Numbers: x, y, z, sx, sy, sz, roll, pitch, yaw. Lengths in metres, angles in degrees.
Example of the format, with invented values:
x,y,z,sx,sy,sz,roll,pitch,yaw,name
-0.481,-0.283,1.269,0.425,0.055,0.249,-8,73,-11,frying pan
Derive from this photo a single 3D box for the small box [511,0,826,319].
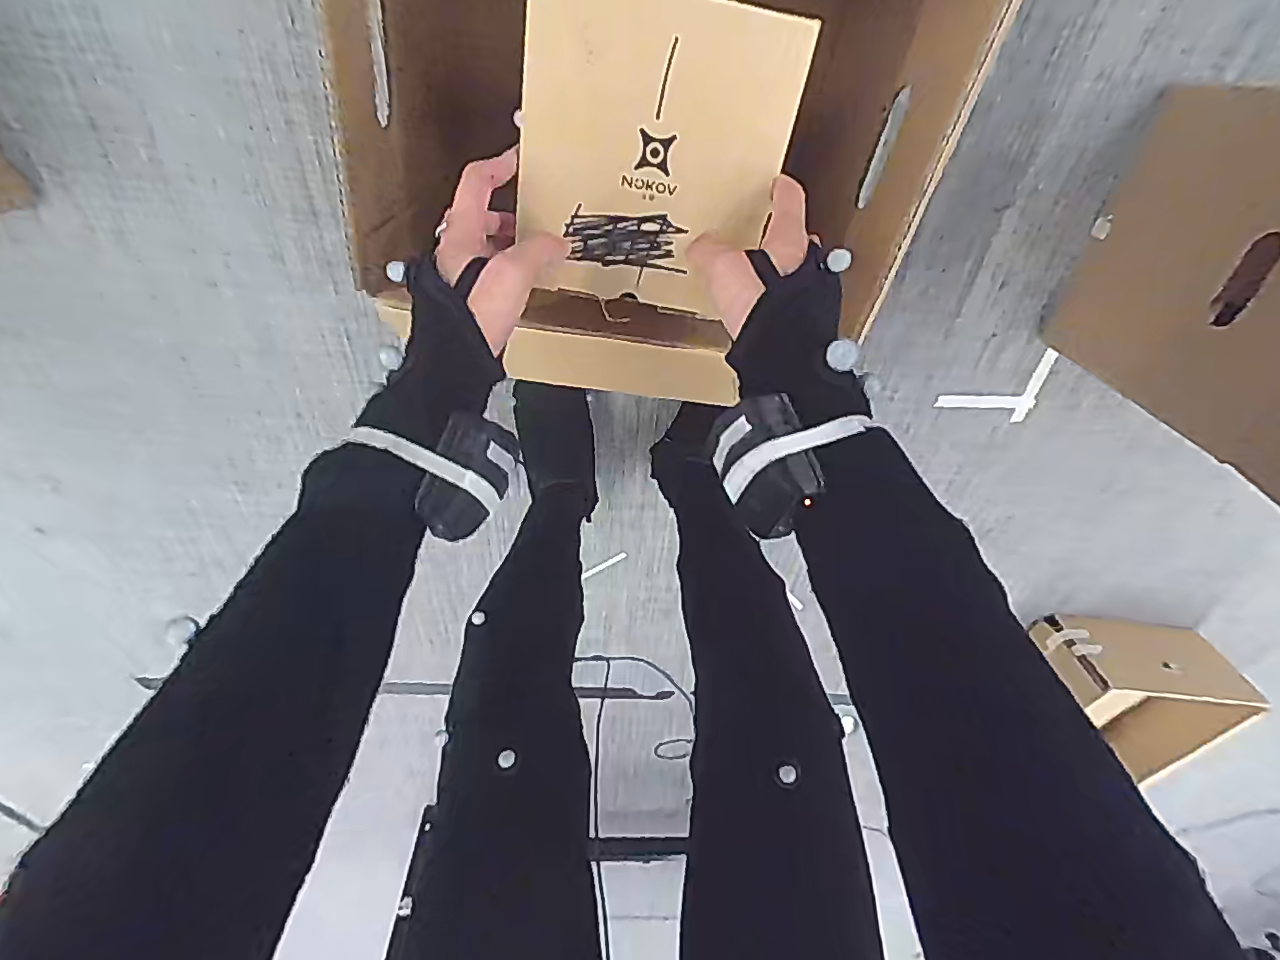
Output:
x,y,z,sx,sy,sz,roll,pitch,yaw,name
0.006,-0.241,0.395,0.168,0.176,0.179,7,124,-8,small box
